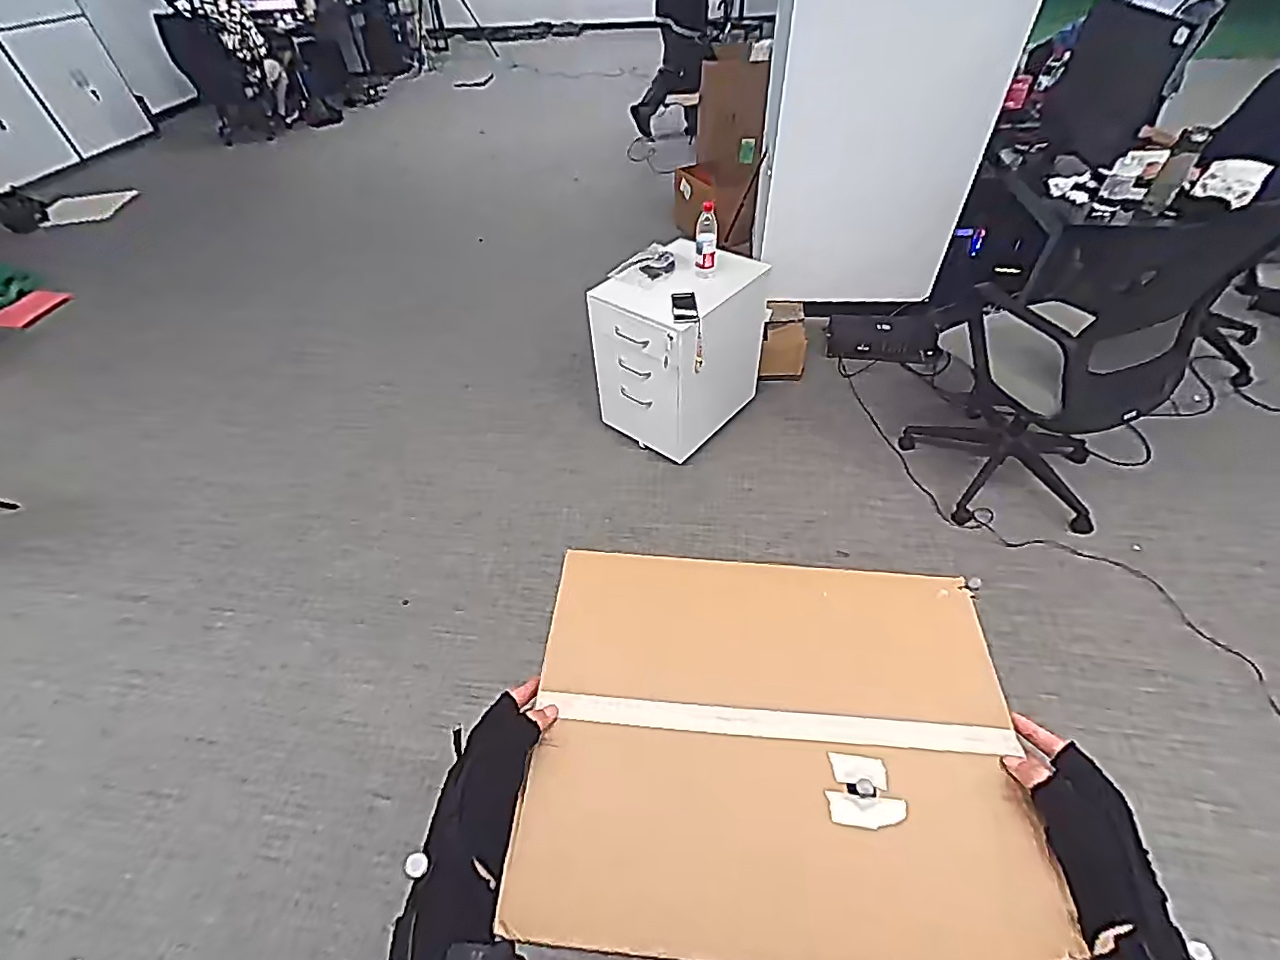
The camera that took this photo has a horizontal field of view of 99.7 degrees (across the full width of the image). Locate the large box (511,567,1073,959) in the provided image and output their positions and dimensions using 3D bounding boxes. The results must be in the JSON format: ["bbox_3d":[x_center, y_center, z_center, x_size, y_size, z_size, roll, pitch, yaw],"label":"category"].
[{"bbox_3d":[0.112,0.314,0.583,0.408,0.320,0.320,4,52,3],"label":"large box"}]
